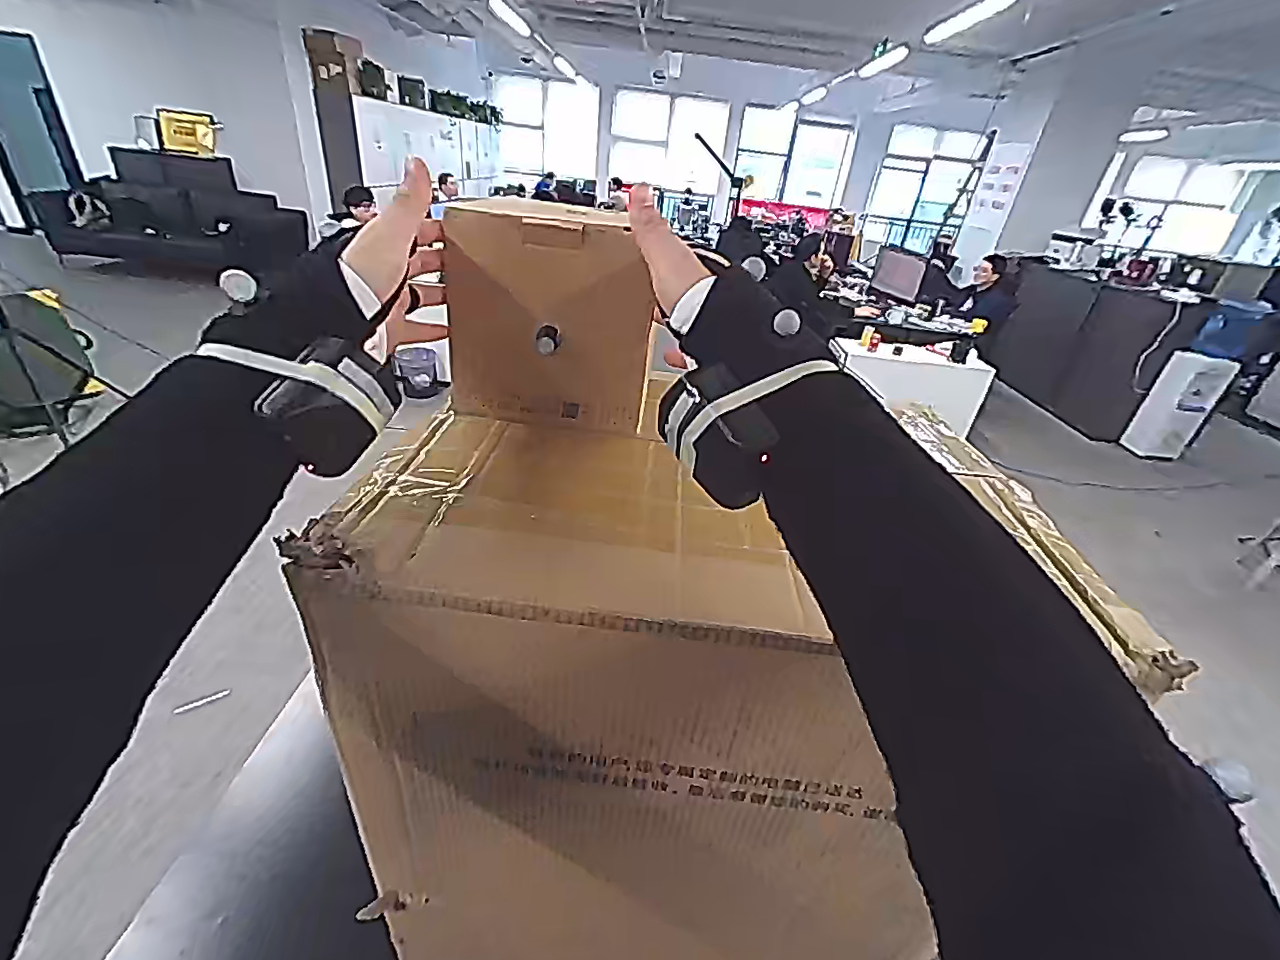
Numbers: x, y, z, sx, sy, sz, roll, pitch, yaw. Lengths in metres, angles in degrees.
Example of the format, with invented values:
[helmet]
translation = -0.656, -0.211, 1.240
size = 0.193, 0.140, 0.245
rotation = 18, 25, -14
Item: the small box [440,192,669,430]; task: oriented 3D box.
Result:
[small box]
translation = -0.066, -0.159, 0.498
size = 0.168, 0.176, 0.179
rotation = 7, 30, 0
